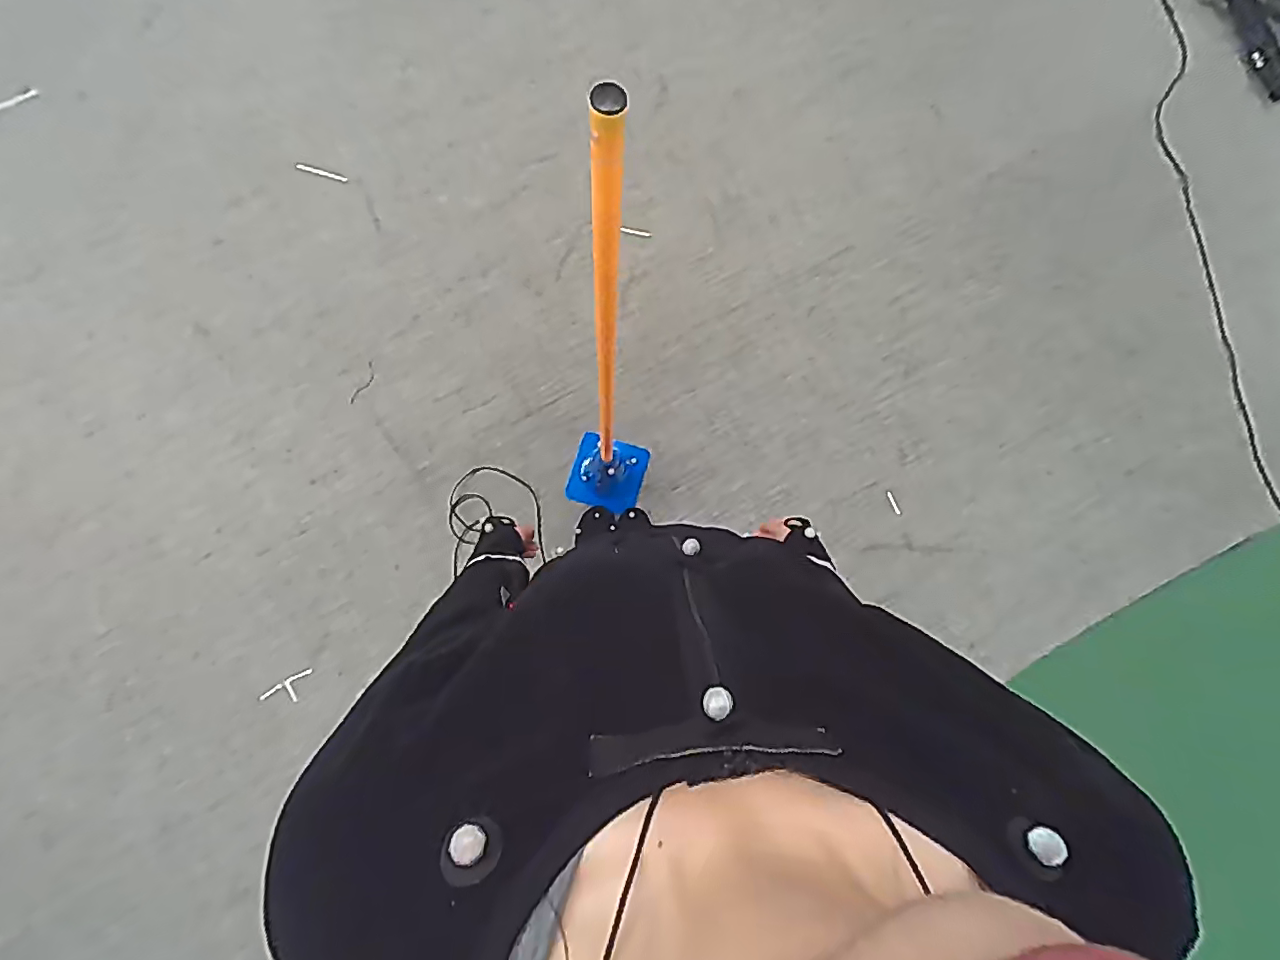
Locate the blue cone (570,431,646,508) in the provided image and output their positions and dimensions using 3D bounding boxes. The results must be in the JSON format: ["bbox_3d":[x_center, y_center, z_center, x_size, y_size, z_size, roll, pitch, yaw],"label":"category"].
[{"bbox_3d":[-0.078,-0.048,1.328,0.192,0.380,0.193,16,83,-2],"label":"blue cone"}]
